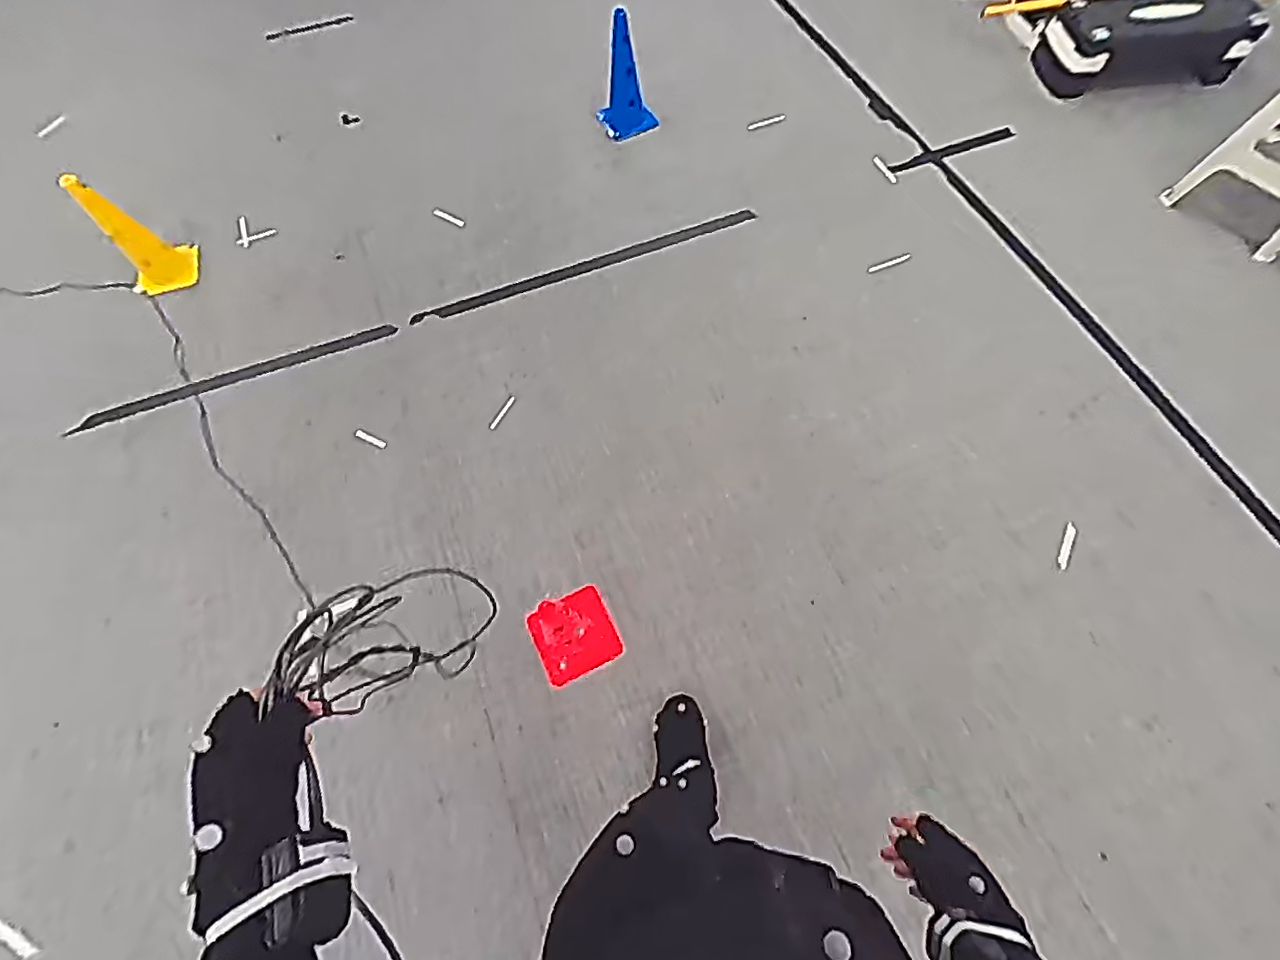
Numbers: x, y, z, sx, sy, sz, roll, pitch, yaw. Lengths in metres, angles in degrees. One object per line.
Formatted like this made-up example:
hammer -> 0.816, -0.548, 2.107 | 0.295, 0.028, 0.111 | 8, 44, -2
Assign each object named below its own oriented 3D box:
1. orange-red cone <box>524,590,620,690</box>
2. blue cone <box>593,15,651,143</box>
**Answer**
orange-red cone -> -0.176, 0.326, 1.191 | 0.199, 0.360, 0.198 | -25, 68, -9
blue cone -> -0.081, -1.468, 1.969 | 0.193, 0.380, 0.192 | -26, 68, -8
